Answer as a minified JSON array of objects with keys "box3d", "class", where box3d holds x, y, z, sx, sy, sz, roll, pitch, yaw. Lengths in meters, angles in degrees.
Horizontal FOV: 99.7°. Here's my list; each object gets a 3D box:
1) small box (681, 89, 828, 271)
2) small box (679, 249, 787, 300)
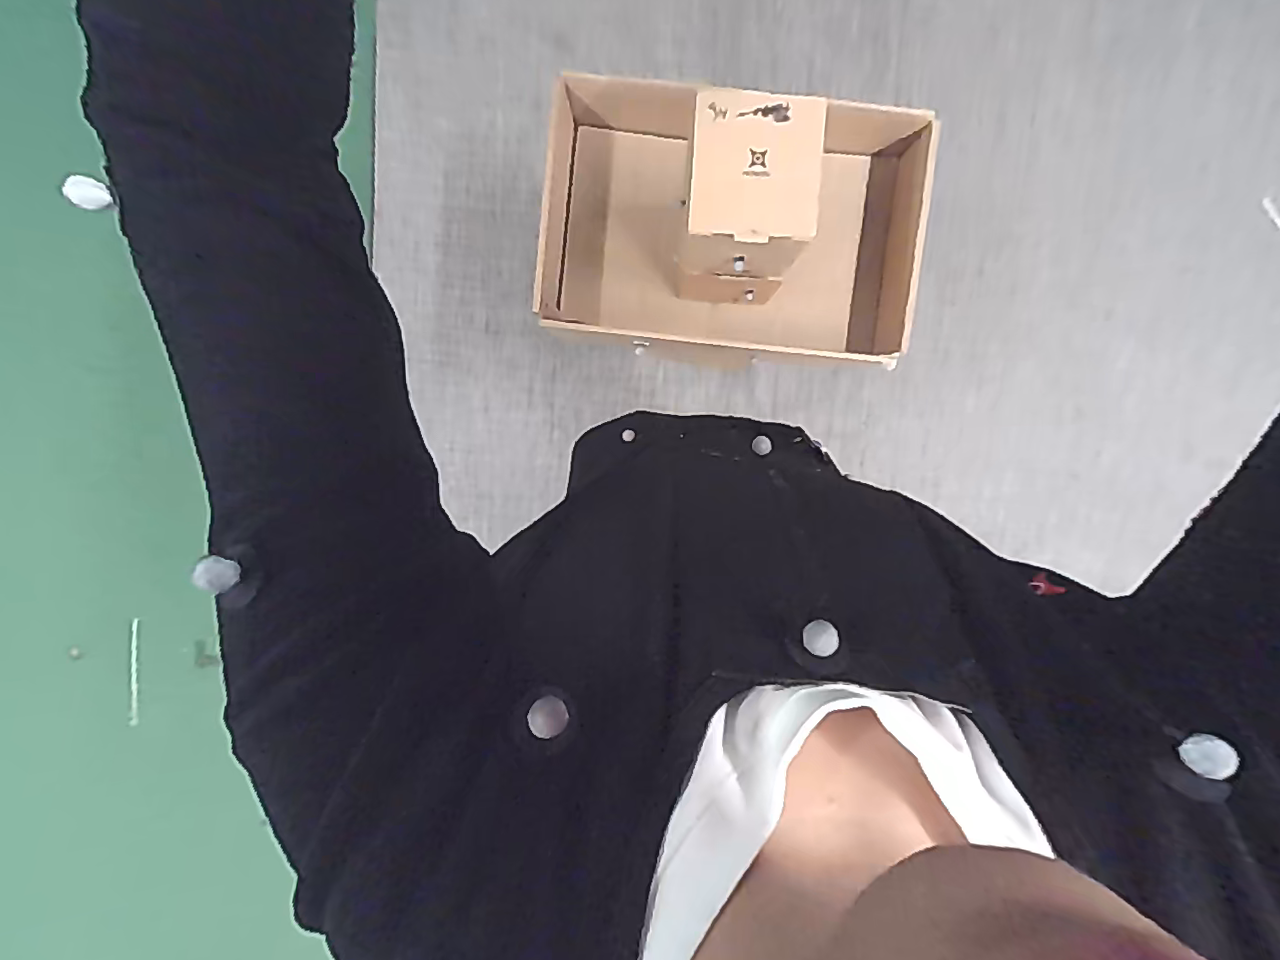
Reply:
[{"box3d":[0.149,-0.408,0.766,0.168,0.176,0.179,4,96,0],"class":"small box"},{"box3d":[0.158,-0.419,0.930,0.168,0.176,0.179,4,94,0],"class":"small box"}]
